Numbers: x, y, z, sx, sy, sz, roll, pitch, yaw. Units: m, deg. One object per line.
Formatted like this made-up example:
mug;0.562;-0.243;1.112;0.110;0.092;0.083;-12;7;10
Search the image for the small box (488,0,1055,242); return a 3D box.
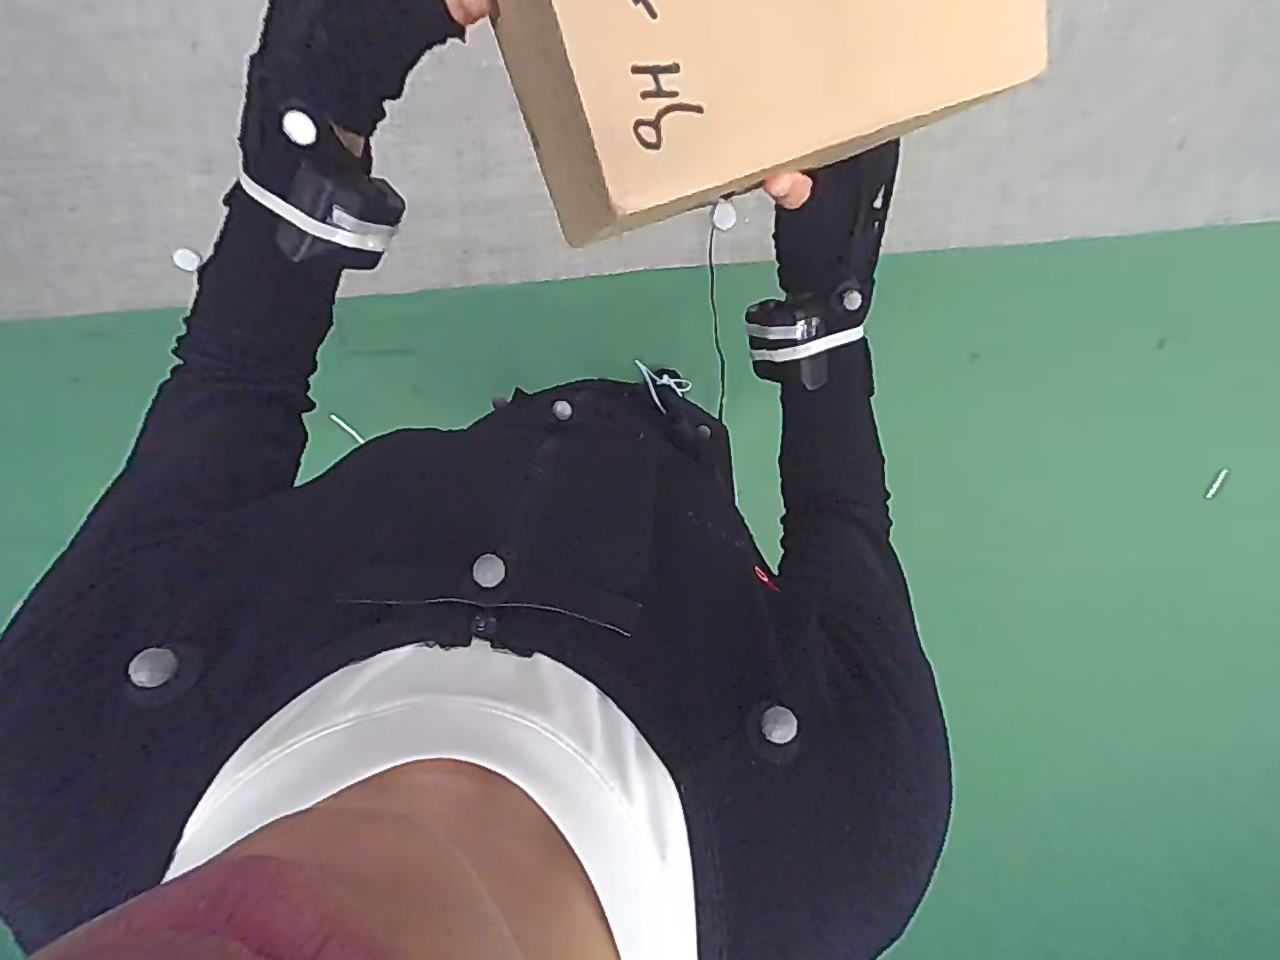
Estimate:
small box;0.034;-0.217;0.236;0.179;0.176;0.168;-21;112;-6
